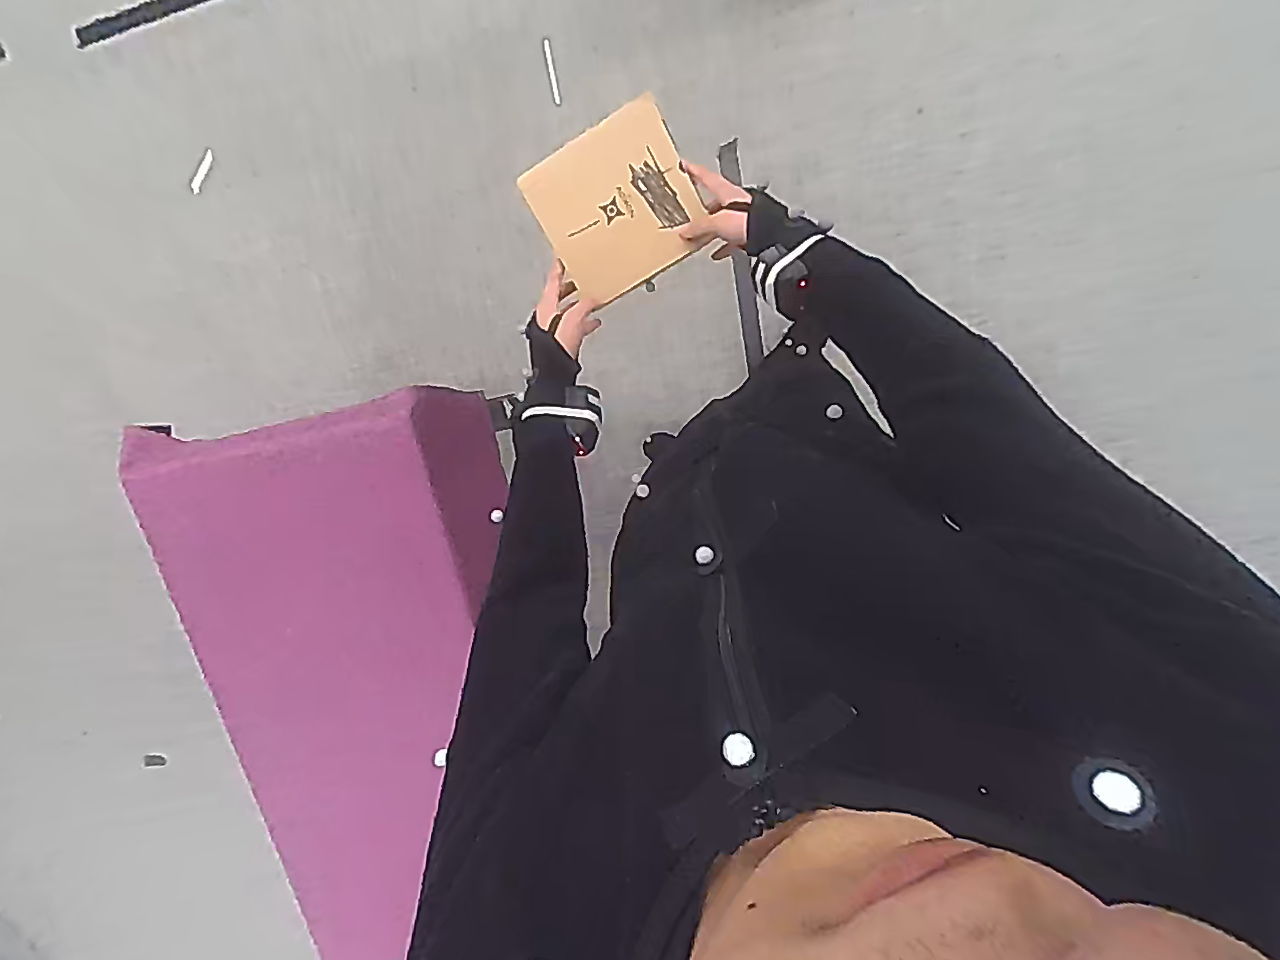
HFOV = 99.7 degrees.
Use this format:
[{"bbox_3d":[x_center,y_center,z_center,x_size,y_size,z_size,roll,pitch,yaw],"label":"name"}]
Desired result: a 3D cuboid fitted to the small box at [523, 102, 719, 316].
[{"bbox_3d":[-0.021,-0.329,0.691,0.179,0.176,0.168,-28,106,9],"label":"small box"}]
